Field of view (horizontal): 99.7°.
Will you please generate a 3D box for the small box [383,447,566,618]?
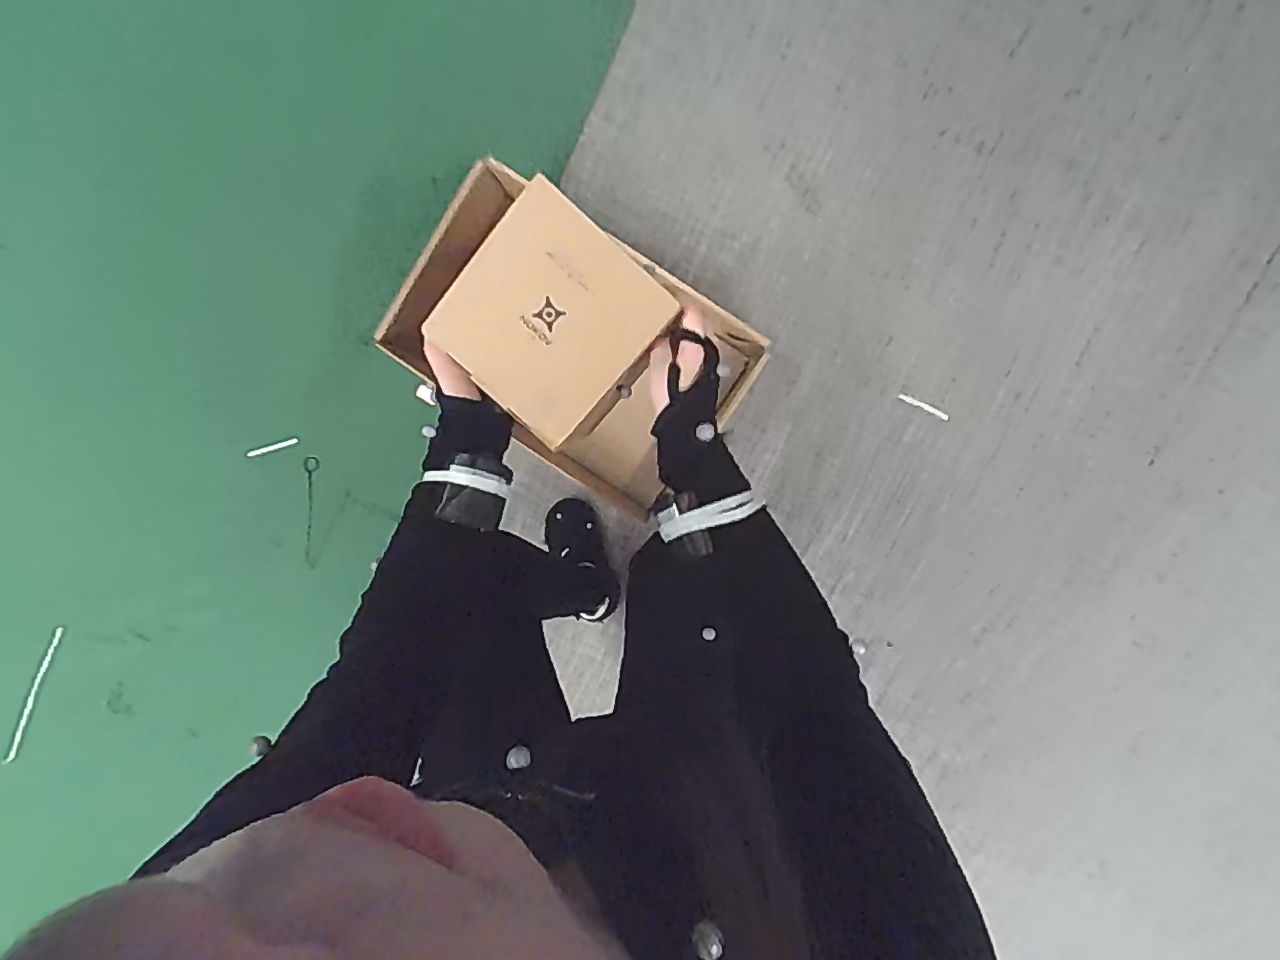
[{"bbox_3d":[-0.228,0.071,0.794,0.176,0.168,0.179,44,86,-9],"label":"small box"}]
